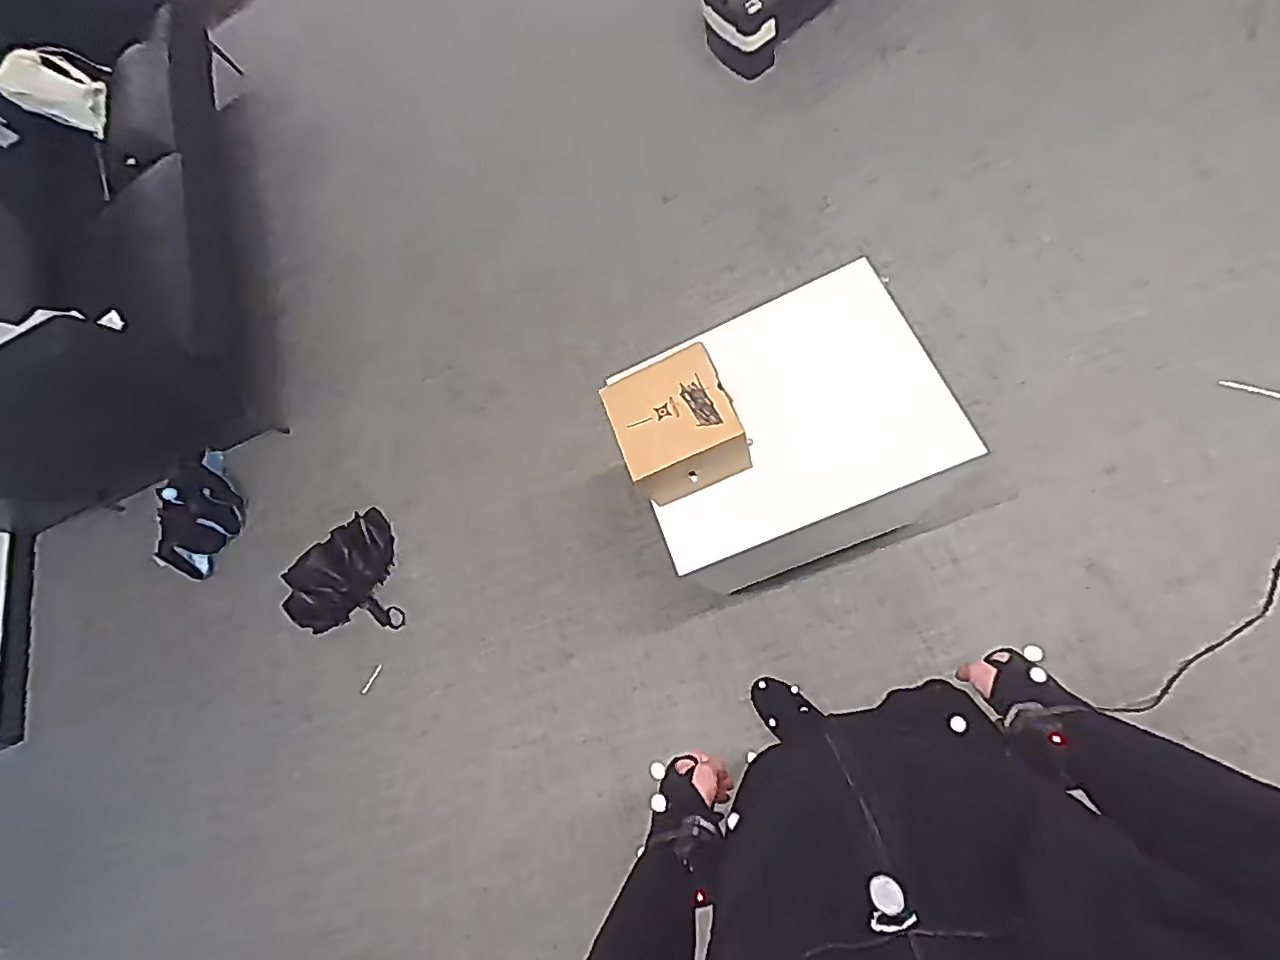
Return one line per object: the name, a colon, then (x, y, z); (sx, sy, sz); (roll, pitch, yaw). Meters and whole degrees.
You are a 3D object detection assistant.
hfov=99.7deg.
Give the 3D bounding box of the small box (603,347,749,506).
small box: (0.066, -0.076, 0.866); (0.179, 0.176, 0.168); (-24, 69, 9)
